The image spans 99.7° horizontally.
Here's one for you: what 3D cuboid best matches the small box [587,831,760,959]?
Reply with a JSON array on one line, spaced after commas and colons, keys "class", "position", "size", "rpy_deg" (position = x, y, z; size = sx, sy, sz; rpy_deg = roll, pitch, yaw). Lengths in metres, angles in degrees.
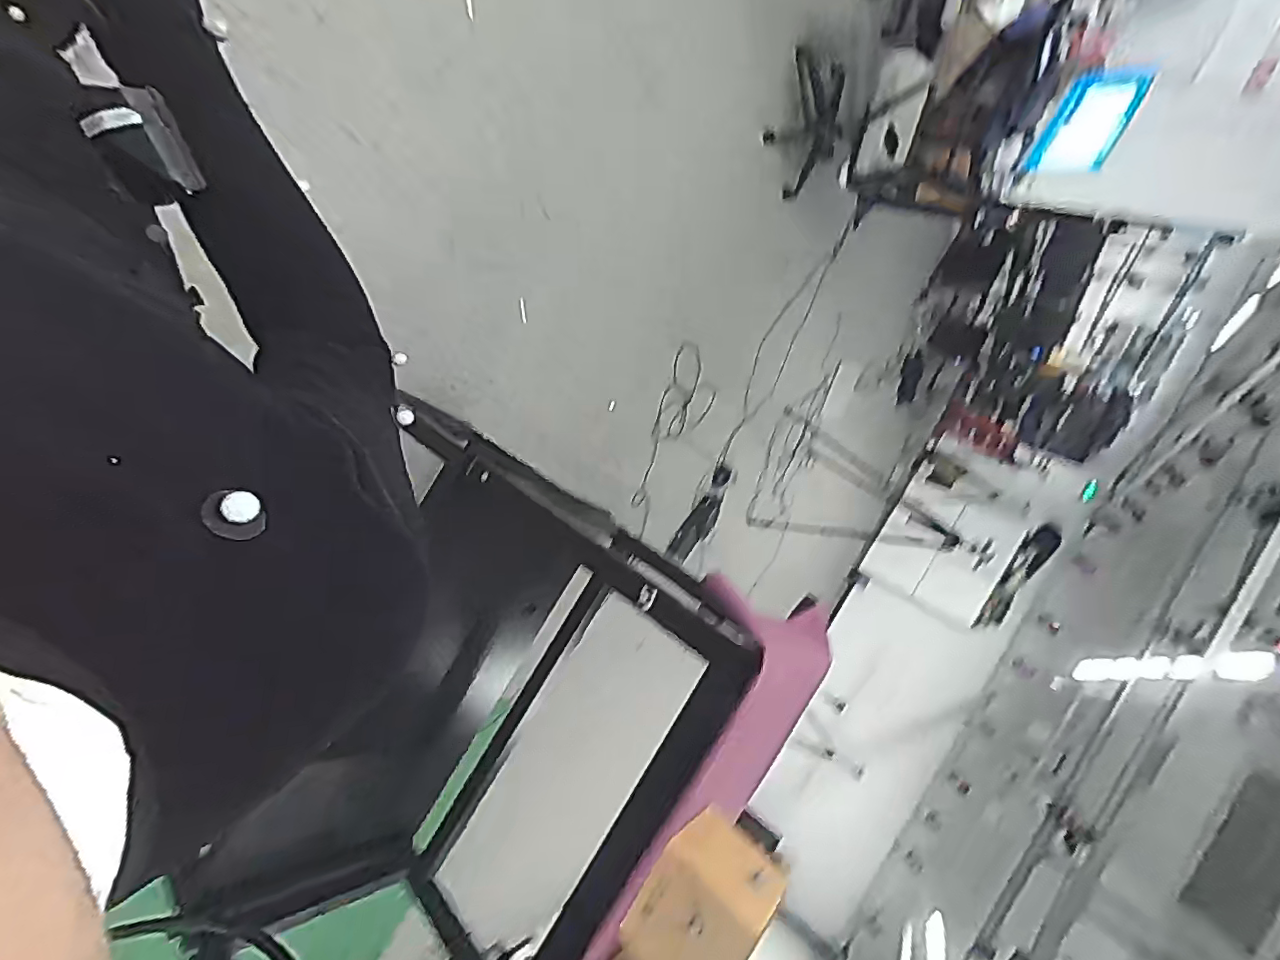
[{"class": "small box", "position": [0.051, 0.683, 0.817], "size": [0.168, 0.176, 0.179], "rpy_deg": [-60, 151, 2]}]
